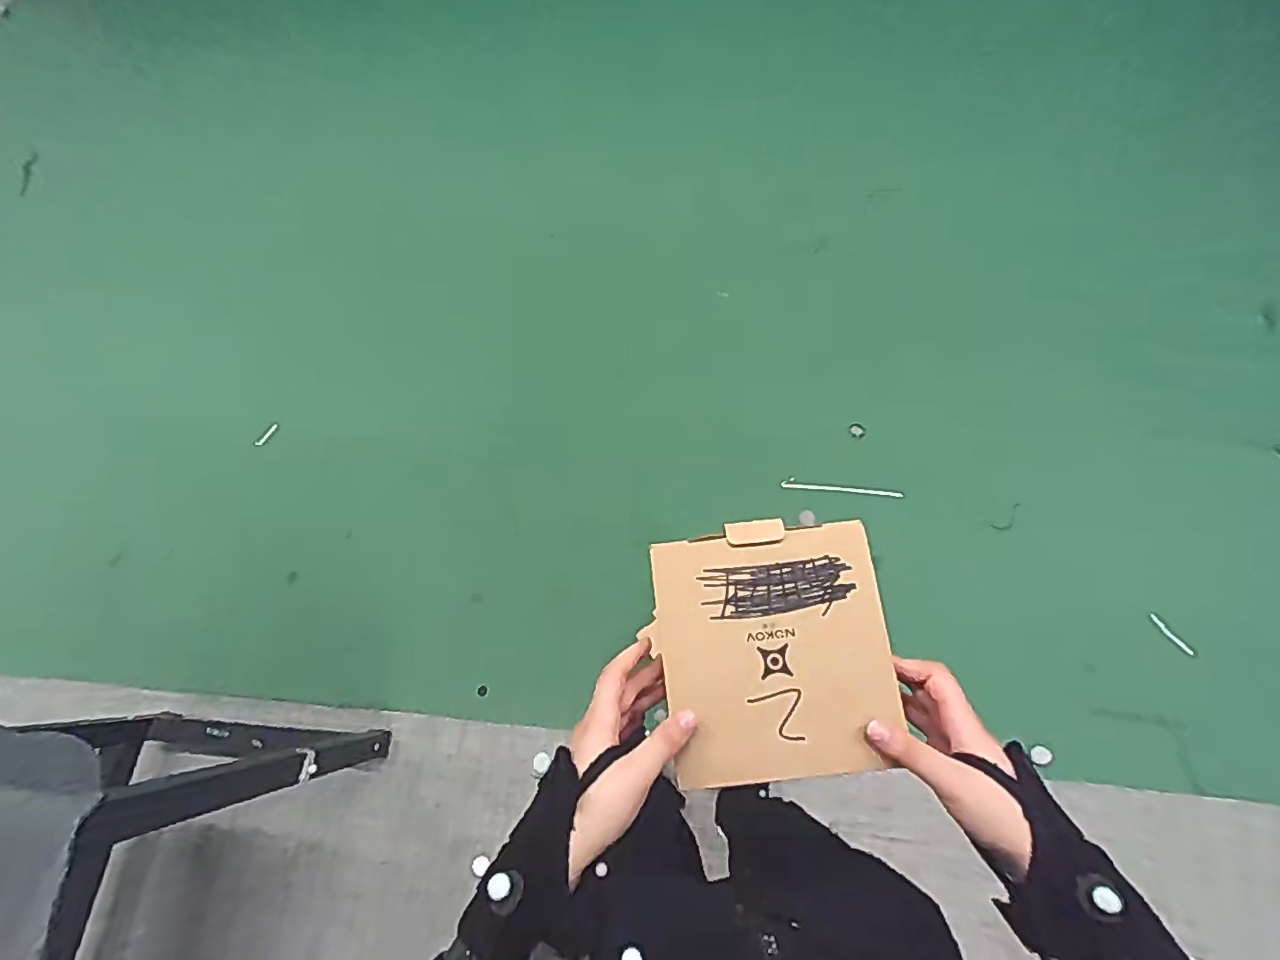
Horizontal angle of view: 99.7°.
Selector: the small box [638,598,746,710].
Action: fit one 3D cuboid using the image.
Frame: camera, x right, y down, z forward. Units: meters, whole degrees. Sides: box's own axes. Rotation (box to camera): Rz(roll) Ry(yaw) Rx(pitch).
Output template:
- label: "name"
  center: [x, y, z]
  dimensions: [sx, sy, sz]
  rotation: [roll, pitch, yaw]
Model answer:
- label: "small box"
  center: [0.115, 0.394, 1.234]
  dimensions: [0.168, 0.176, 0.179]
  rotation: [-38, 73, -10]
